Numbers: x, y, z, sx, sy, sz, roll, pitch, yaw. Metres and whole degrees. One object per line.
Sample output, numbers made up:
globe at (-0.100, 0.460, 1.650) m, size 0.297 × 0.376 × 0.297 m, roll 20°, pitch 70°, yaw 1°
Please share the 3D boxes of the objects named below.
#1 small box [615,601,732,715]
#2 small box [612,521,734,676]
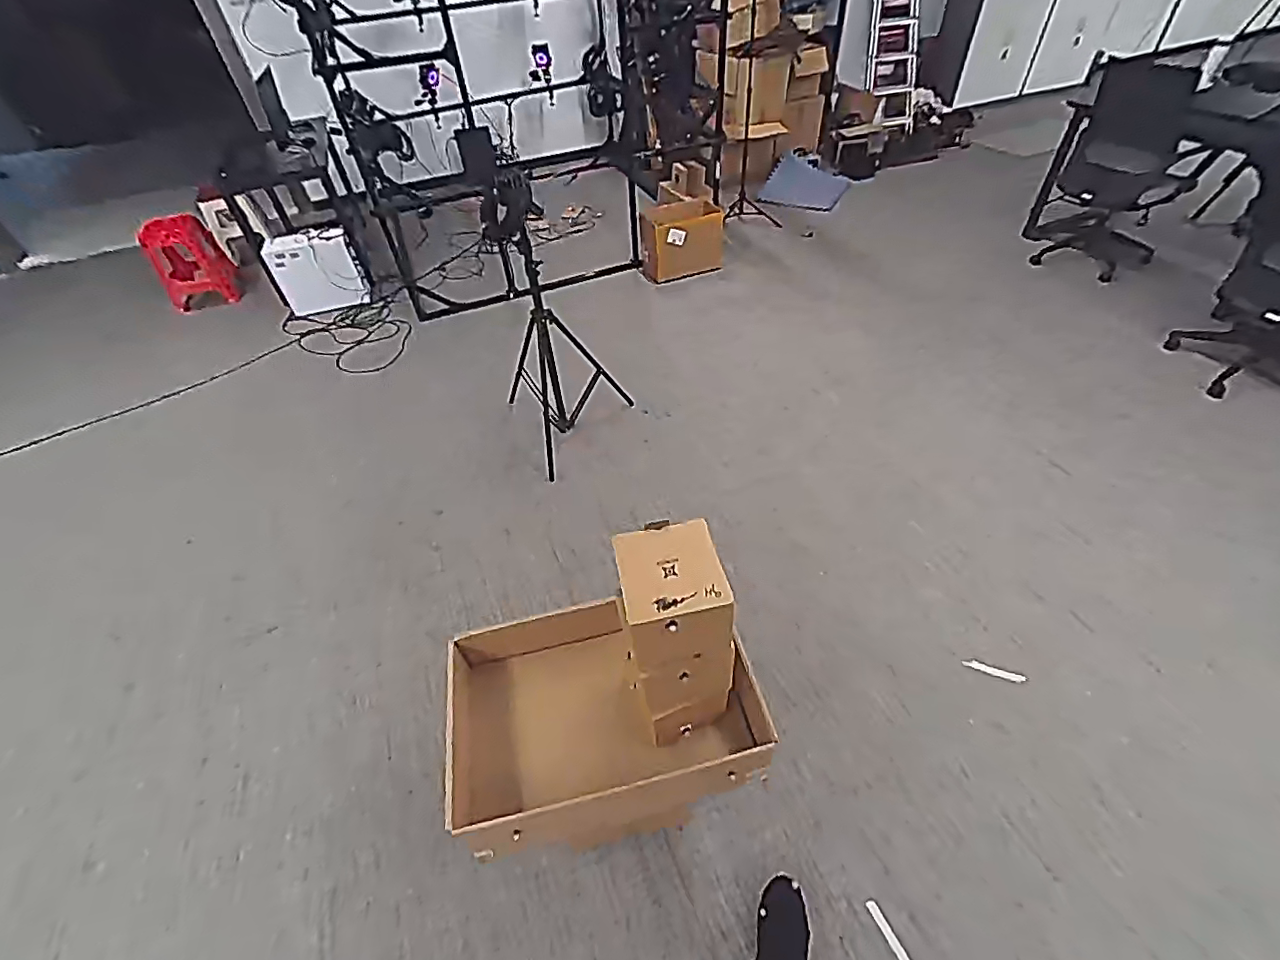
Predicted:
small box at (0.064, 0.317, 1.022) m, size 0.179 × 0.176 × 0.168 m, roll -15°, pitch 46°, yaw -8°
small box at (0.051, 0.199, 0.908) m, size 0.168 × 0.176 × 0.179 m, roll -12°, pitch 45°, yaw -3°
